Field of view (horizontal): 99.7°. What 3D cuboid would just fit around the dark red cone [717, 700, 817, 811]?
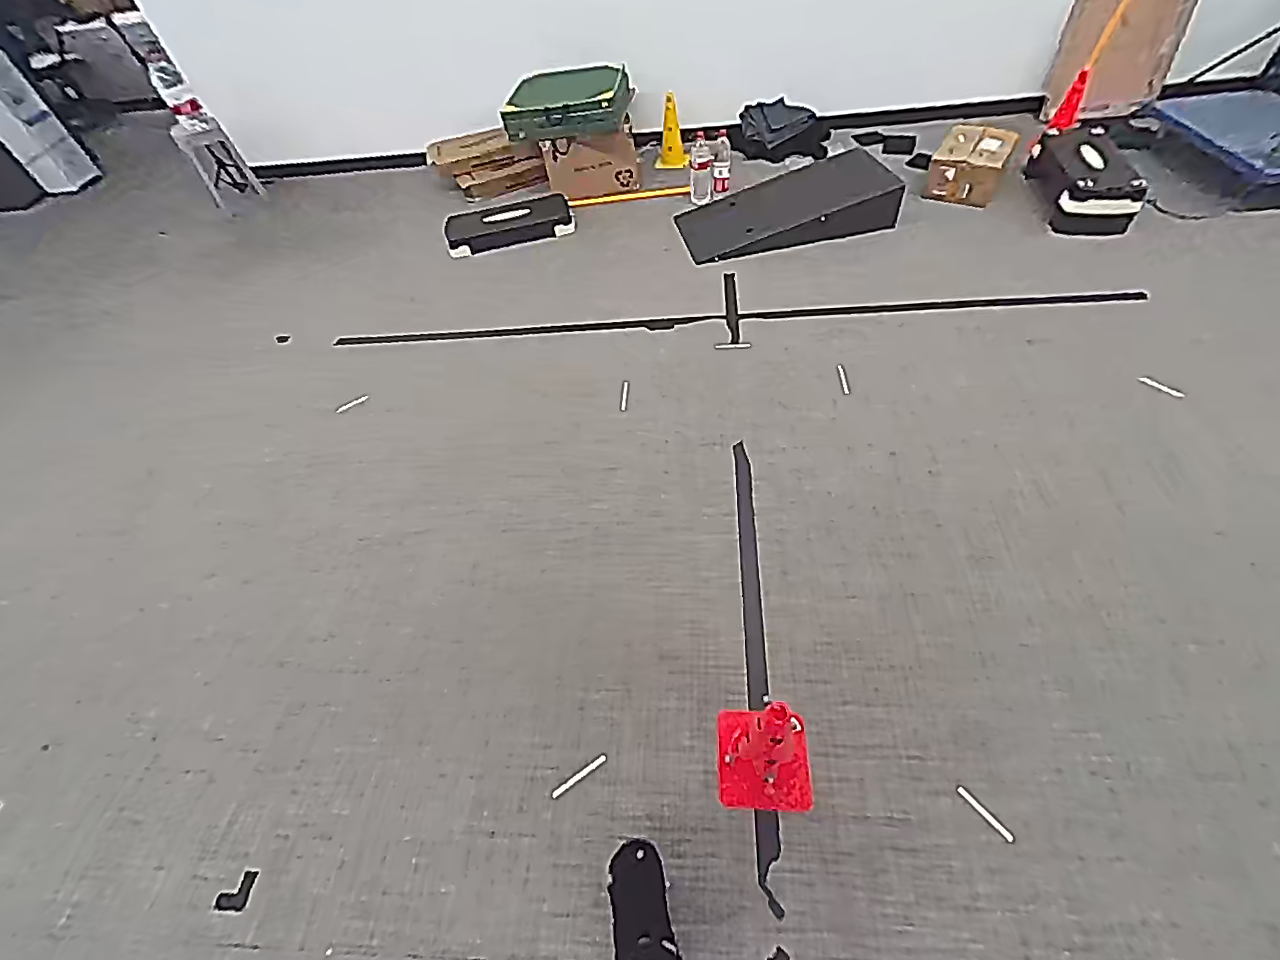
[{"bbox_3d":[0.255,0.506,1.059,0.201,0.394,0.202,-2,51,7],"label":"dark red cone"}]
